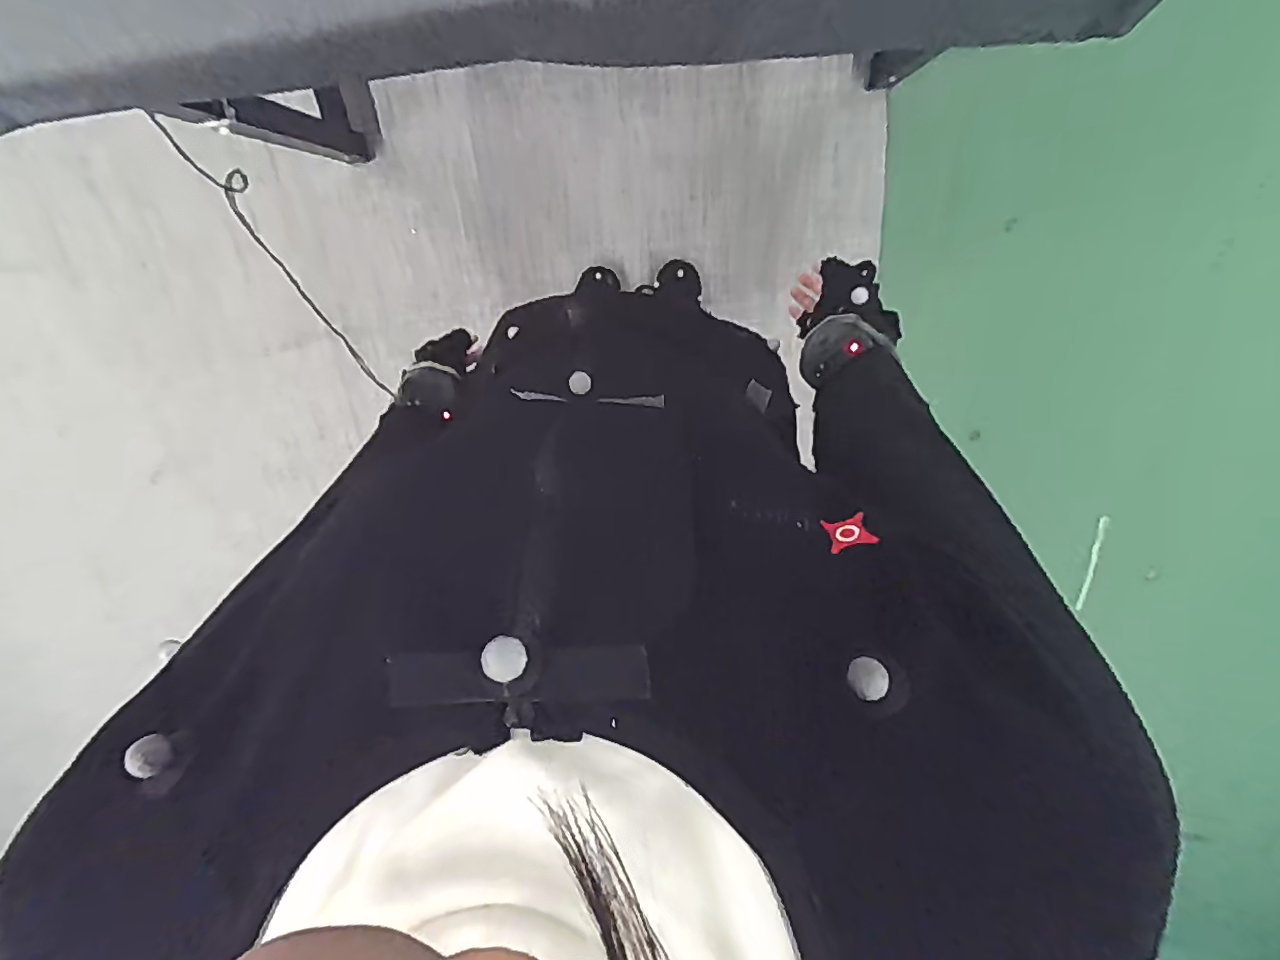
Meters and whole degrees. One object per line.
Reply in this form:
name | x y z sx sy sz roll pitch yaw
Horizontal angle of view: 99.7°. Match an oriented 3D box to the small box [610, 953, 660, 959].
small box | -0.022 1.704 1.781 0.179 0.176 0.168 0 109 1
